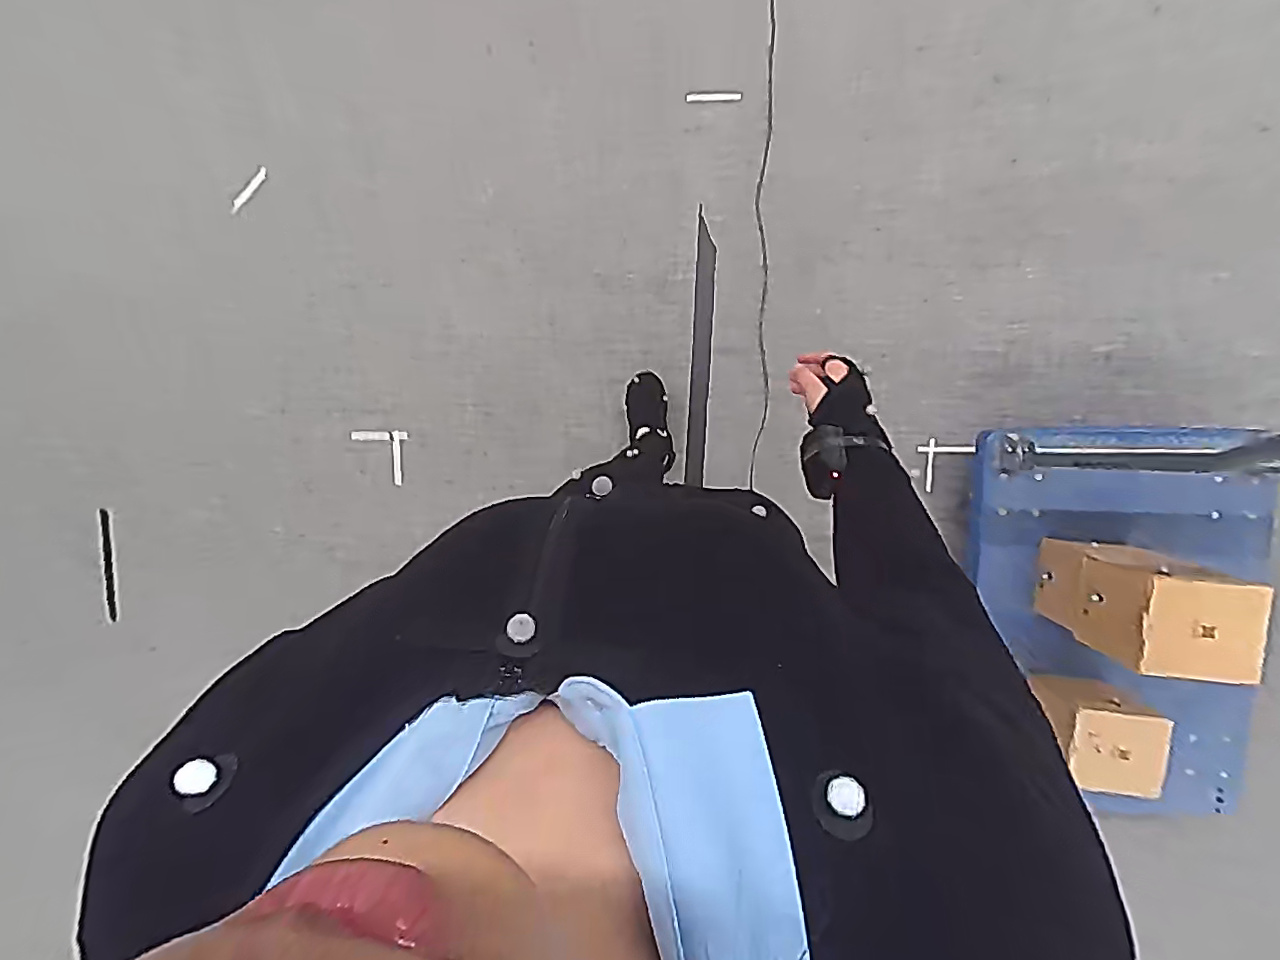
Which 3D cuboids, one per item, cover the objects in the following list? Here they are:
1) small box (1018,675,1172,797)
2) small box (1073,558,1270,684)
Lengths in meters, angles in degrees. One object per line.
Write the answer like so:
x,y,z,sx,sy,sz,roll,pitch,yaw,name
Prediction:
0.951,0.532,1.146,0.179,0.176,0.168,5,95,6,small box
0.927,0.239,0.960,0.179,0.176,0.168,3,95,8,small box
